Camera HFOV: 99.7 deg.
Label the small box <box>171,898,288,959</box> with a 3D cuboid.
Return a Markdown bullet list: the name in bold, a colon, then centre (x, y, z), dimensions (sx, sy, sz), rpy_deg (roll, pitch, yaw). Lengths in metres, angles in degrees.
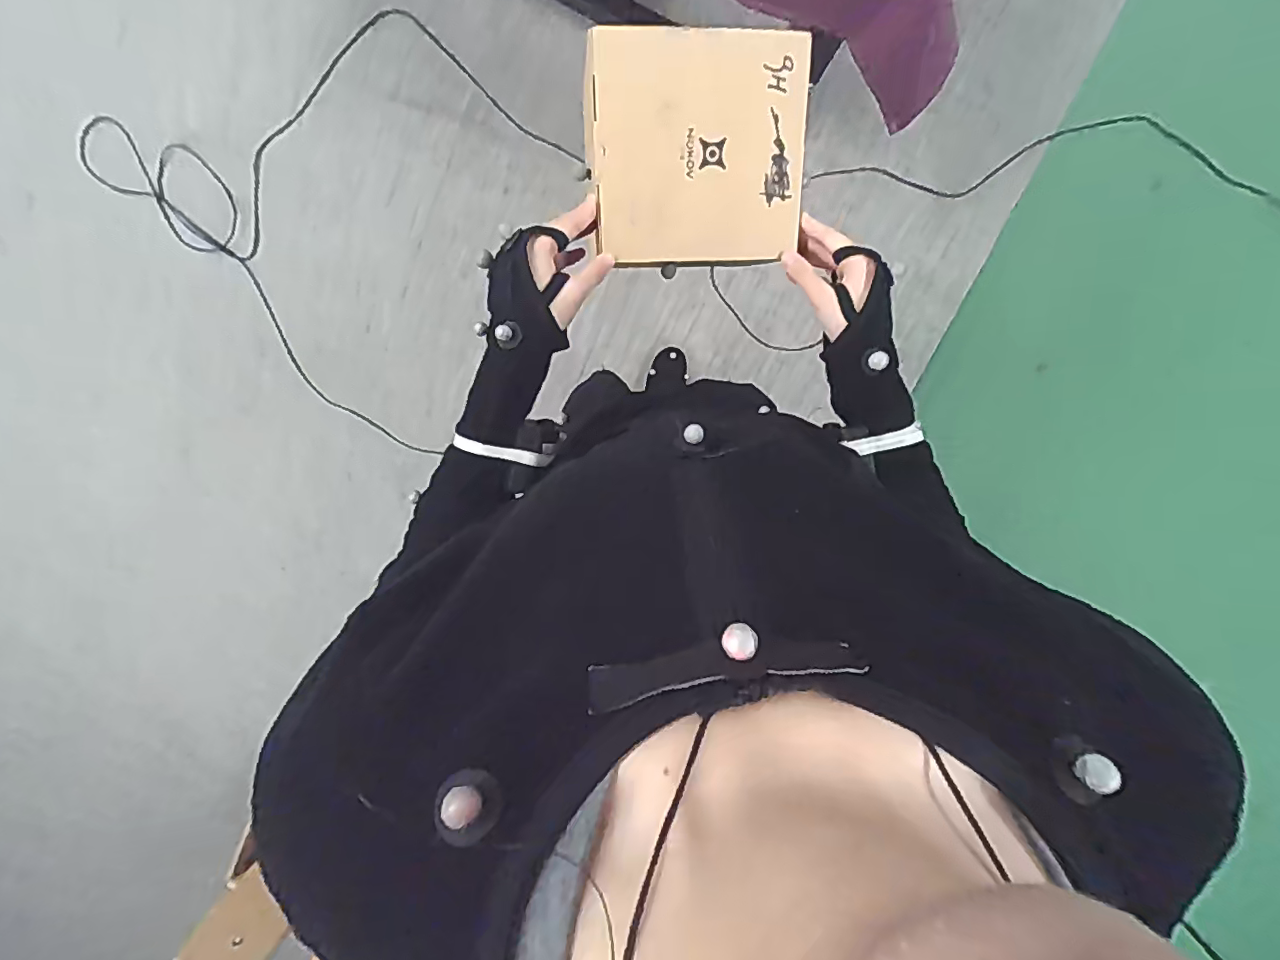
- **small box**: centre (-1.005, 1.163, 1.303), dimensions (0.179, 0.176, 0.168), rpy_deg (27, 100, -5)

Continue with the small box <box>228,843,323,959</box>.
- **small box**: centre (-1.000, 1.137, 1.465), dimensions (0.168, 0.176, 0.179), rpy_deg (26, 101, -5)
